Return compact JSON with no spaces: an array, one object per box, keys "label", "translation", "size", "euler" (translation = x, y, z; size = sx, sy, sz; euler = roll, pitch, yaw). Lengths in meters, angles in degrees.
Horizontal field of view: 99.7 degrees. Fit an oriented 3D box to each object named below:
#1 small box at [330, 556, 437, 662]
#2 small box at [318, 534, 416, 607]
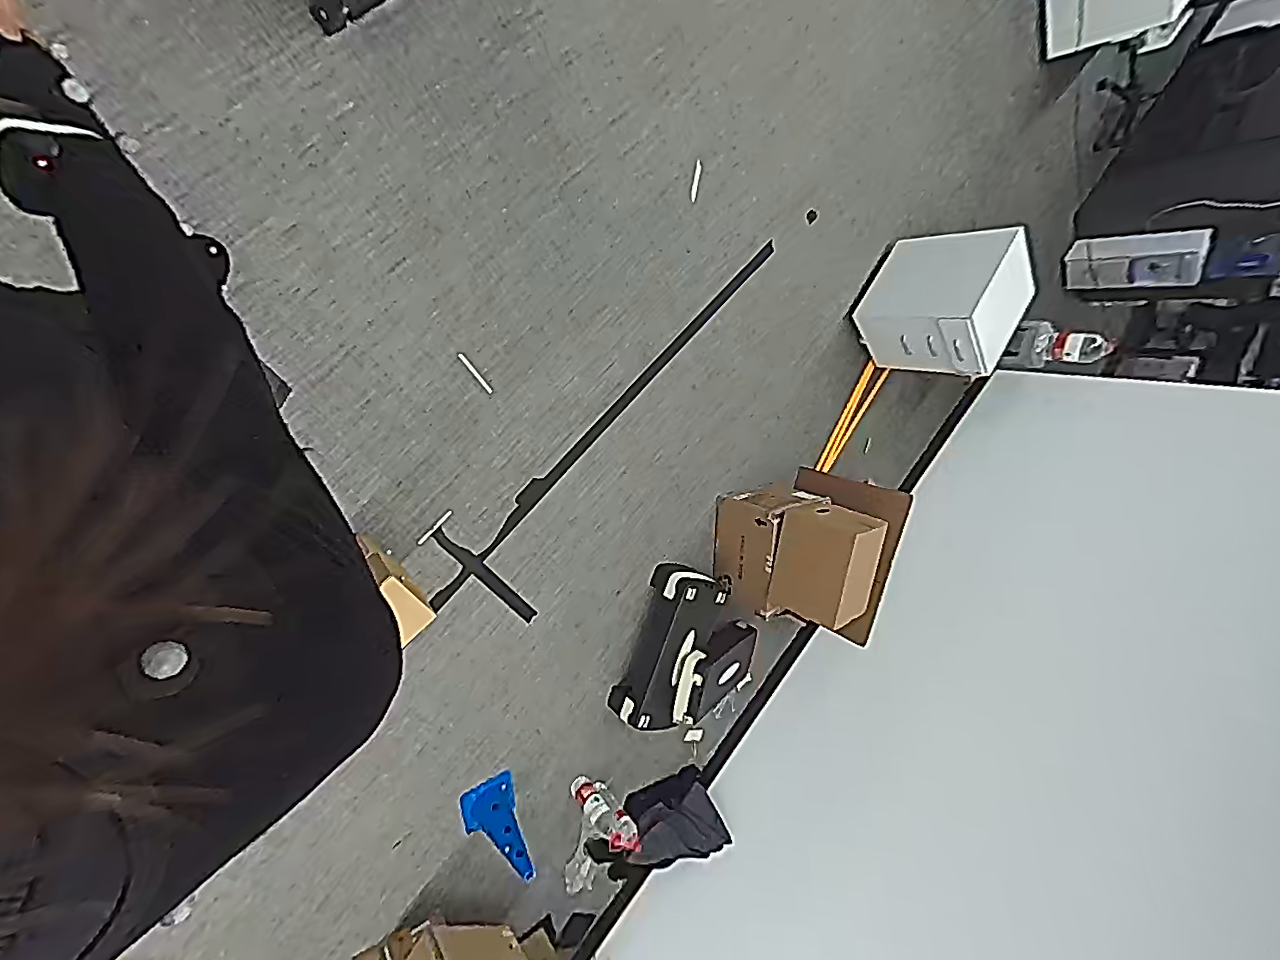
[{"label":"small box","translation":[-0.664,0.325,1.395],"size":[0.168,0.176,0.179],"euler":[-44,125,-18]},{"label":"small box","translation":[-0.769,0.280,1.512],"size":[0.179,0.176,0.168],"euler":[-49,127,-16]}]
